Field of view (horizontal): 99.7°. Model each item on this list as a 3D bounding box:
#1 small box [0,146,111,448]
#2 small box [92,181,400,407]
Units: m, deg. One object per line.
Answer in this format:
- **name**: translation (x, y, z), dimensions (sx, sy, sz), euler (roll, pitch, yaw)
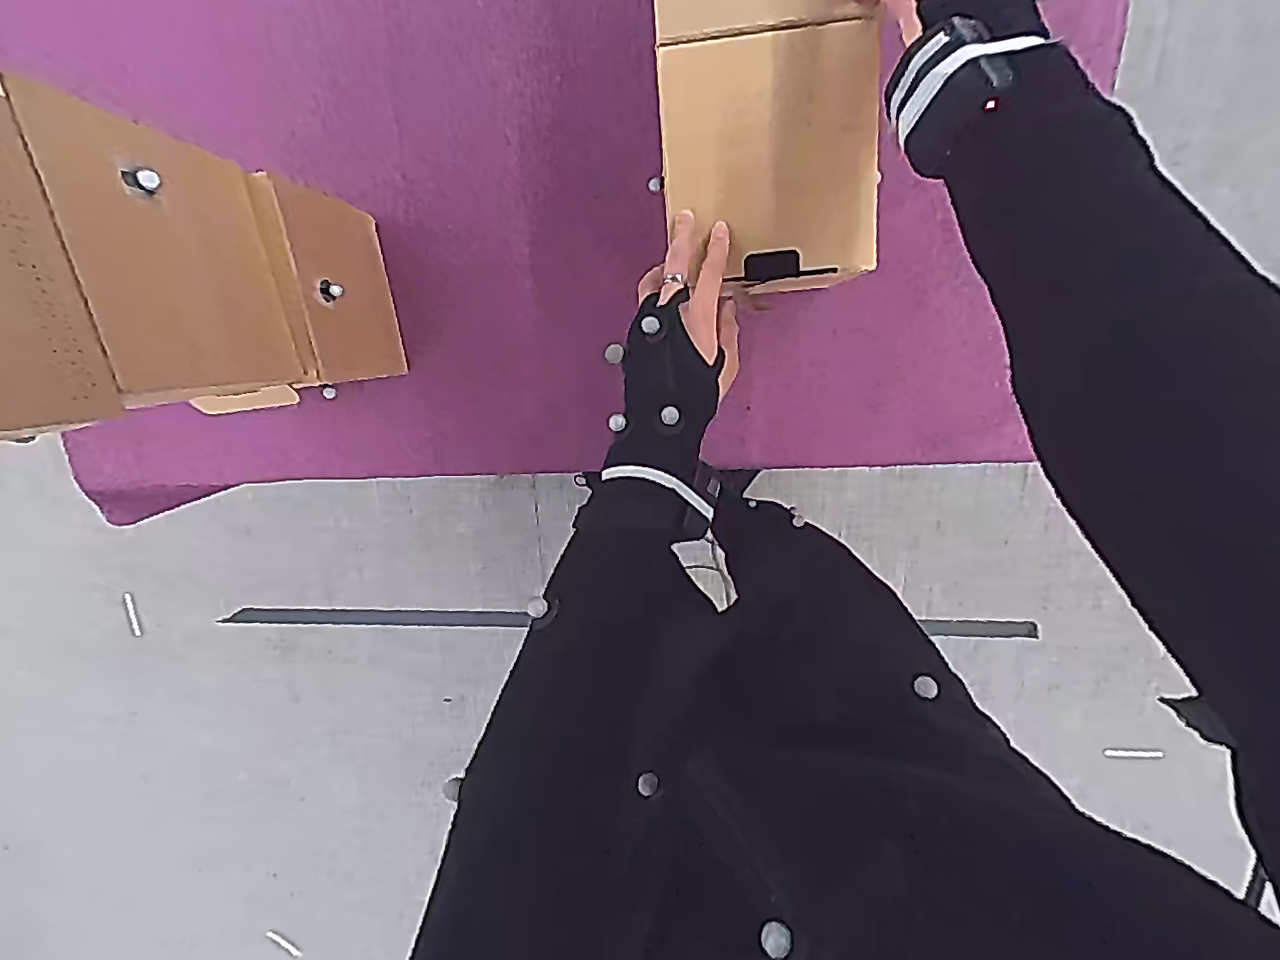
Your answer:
- **small box**: translation (-0.408, -0.086, 0.235), dimensions (0.168, 0.176, 0.179), euler (-8, 103, 6)
- **small box**: translation (-0.372, -0.178, 0.551), dimensions (0.168, 0.176, 0.179), euler (-6, 104, 5)
